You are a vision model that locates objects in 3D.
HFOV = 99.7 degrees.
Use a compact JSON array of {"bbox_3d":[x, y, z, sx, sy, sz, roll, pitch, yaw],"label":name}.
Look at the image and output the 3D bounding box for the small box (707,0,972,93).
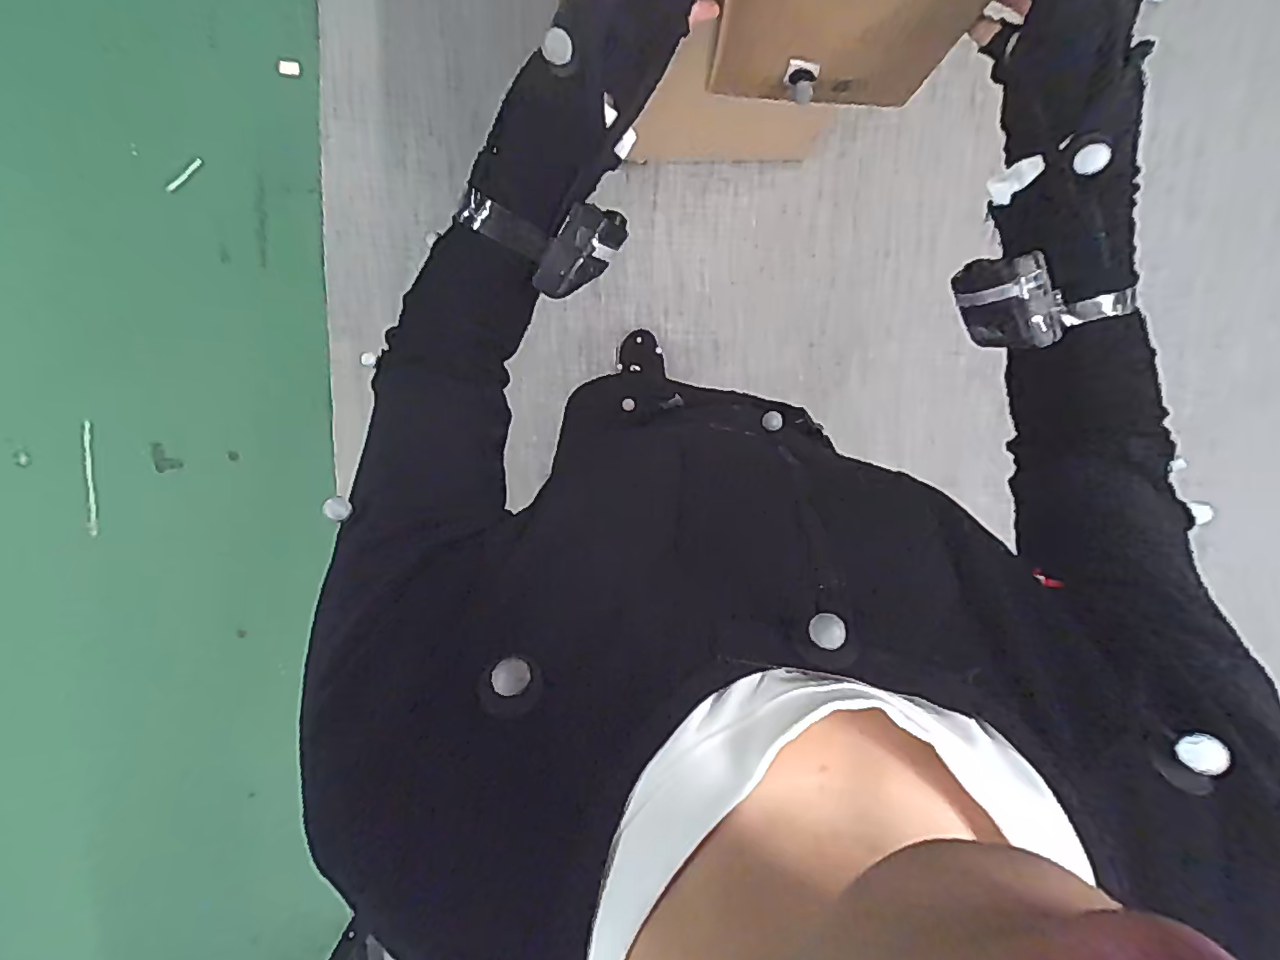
[{"bbox_3d":[0.138,-0.396,0.348,0.168,0.176,0.179,4,97,0],"label":"small box"}]
